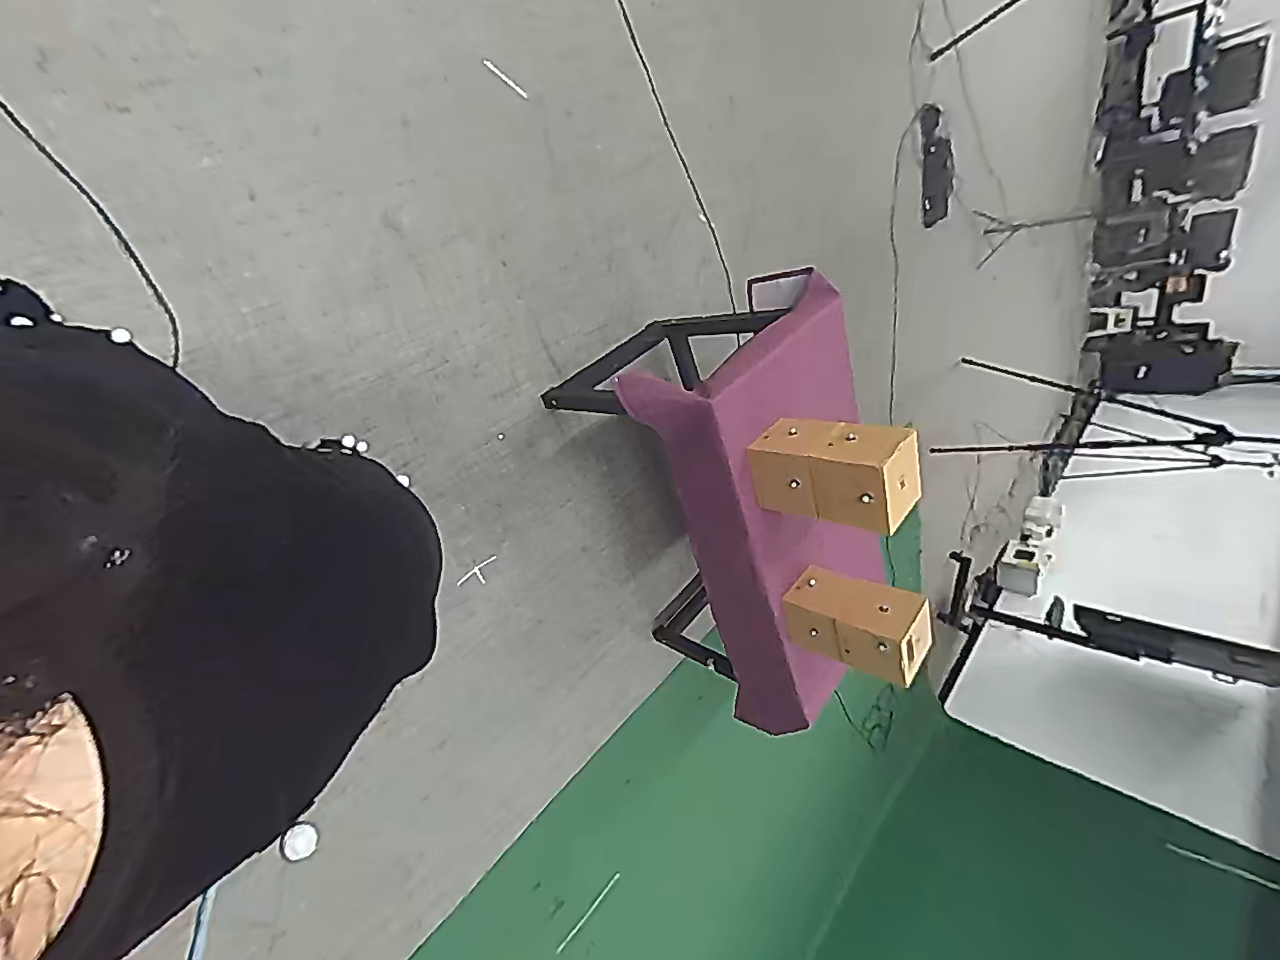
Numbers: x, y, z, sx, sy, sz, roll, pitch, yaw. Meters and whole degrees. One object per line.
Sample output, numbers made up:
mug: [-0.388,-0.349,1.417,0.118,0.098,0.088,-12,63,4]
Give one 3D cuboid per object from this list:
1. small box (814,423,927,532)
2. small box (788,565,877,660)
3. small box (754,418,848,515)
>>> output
small box: [0.509,-0.014,1.196,0.168,0.176,0.179,-38,121,-32]
small box: [0.544,0.367,1.531,0.168,0.176,0.179,-38,121,-32]
small box: [0.398,-0.042,1.312,0.168,0.176,0.179,-37,122,-31]
